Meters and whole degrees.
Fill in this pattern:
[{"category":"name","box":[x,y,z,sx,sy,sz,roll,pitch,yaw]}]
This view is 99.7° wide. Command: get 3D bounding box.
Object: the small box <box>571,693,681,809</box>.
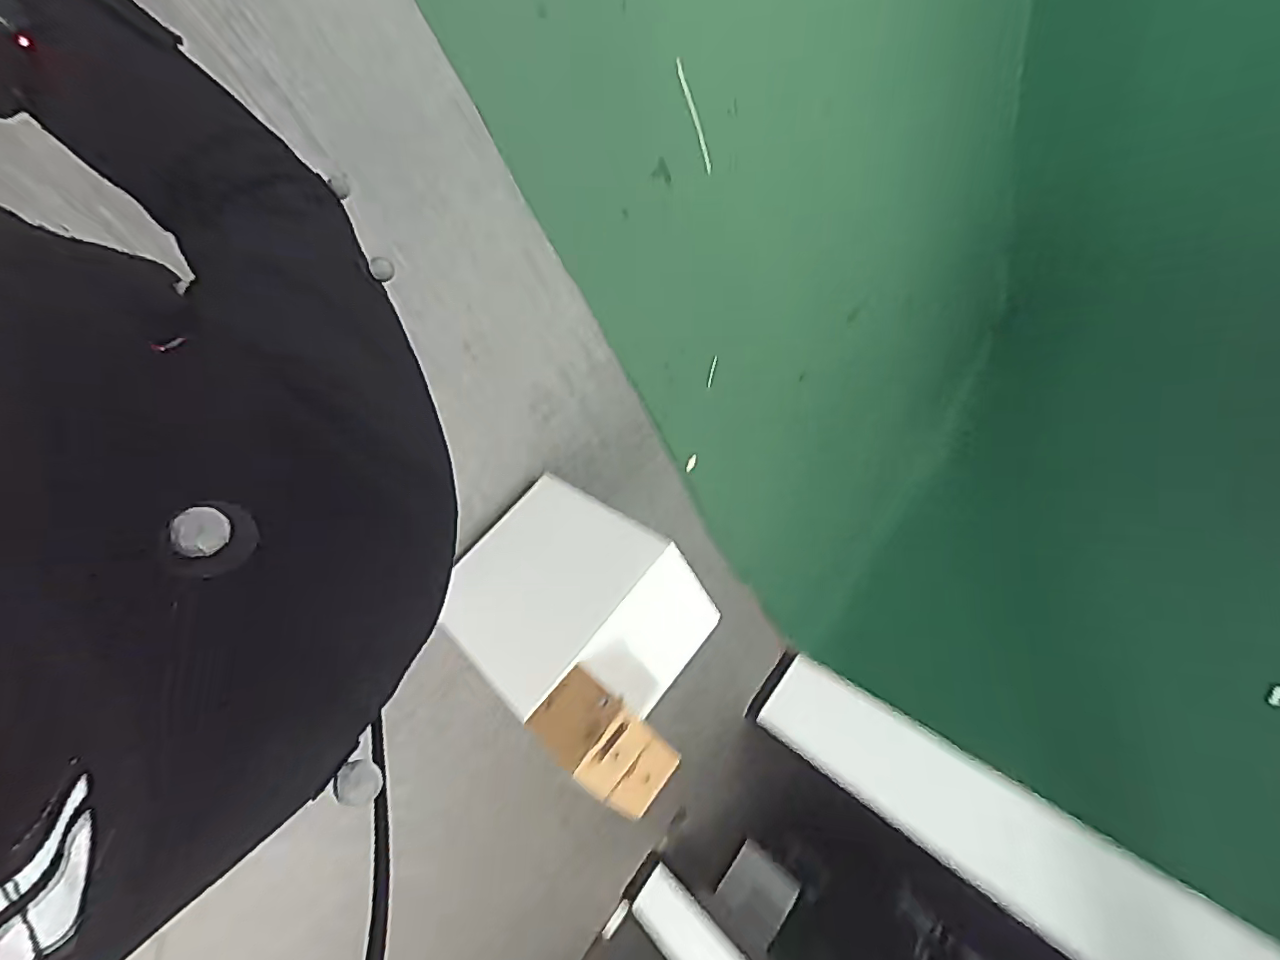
[{"category":"small box","box":[-0.036,0.645,1.301,0.168,0.176,0.179,-49,136,-16]}]
